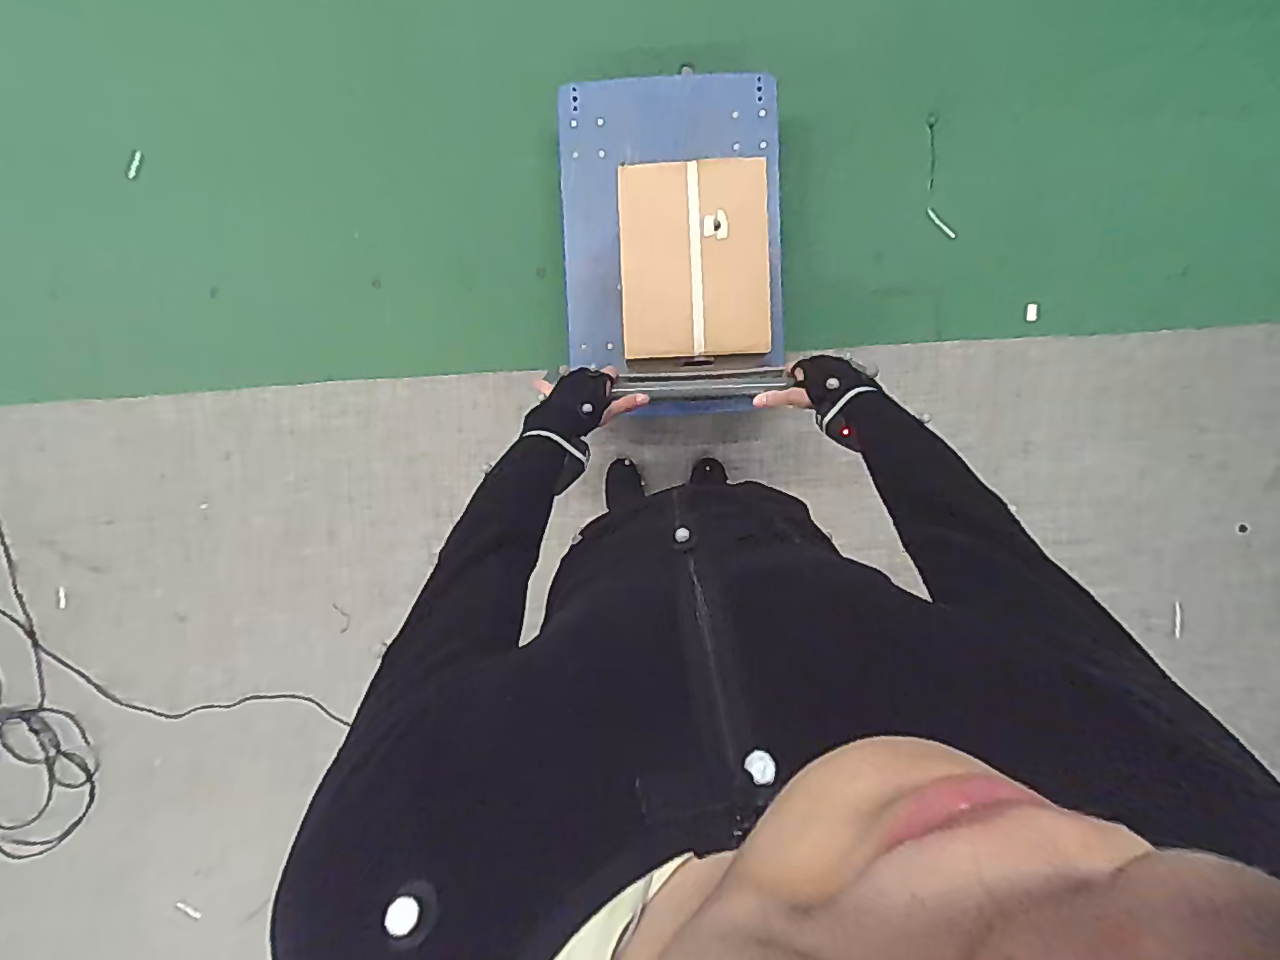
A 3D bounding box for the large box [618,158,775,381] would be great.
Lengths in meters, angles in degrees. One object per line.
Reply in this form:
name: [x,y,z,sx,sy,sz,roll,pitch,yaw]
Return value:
large box: [0.122,-0.461,1.268,0.320,0.320,0.408,-2,92,1]
